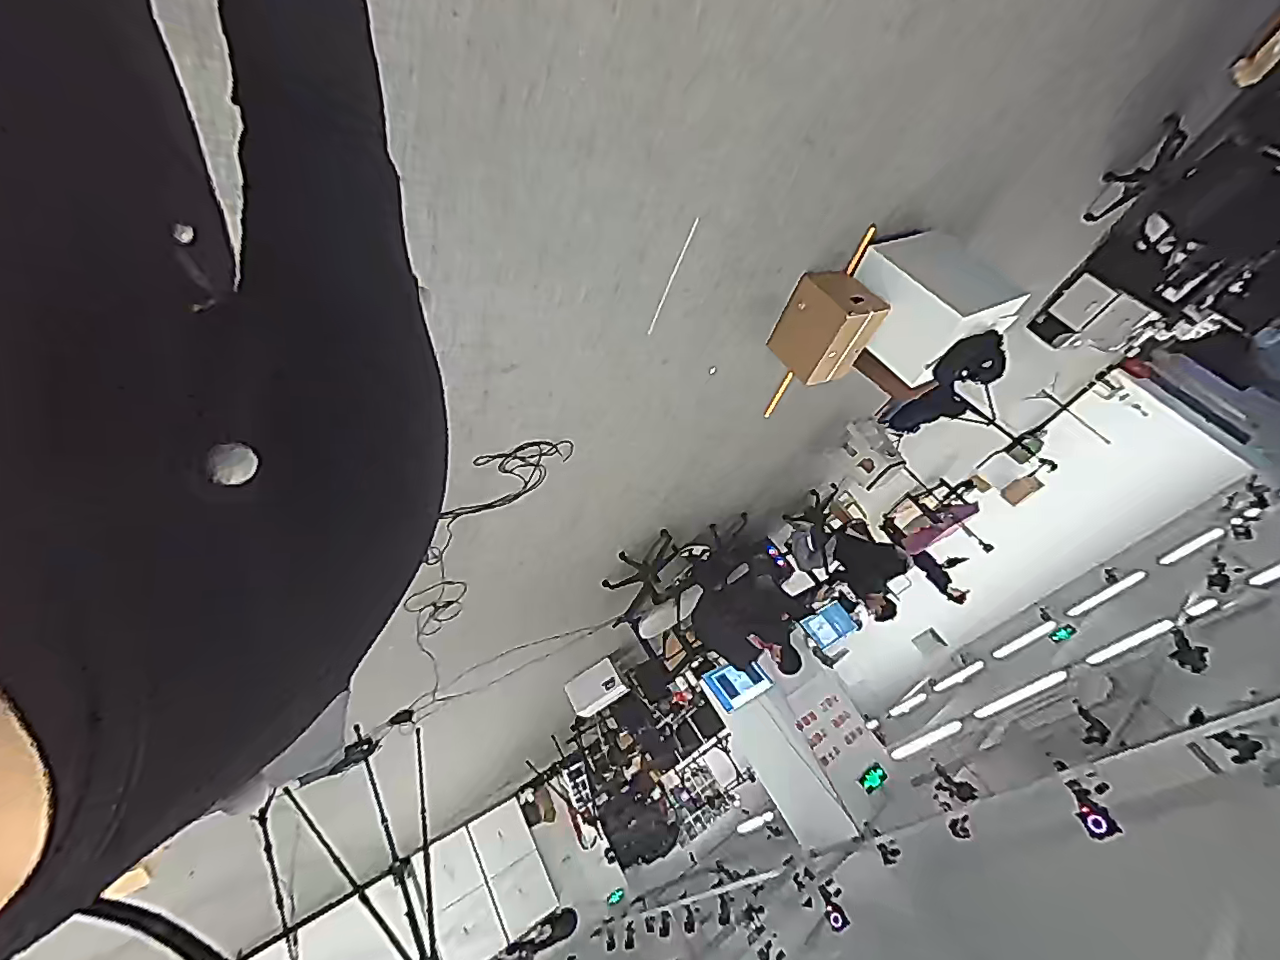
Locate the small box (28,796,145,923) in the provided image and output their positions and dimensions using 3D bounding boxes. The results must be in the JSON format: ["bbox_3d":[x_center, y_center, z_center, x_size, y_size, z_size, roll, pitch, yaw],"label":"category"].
[{"bbox_3d":[-1.266,0.865,1.244,0.168,0.176,0.179,-11,144,-41],"label":"small box"}]
